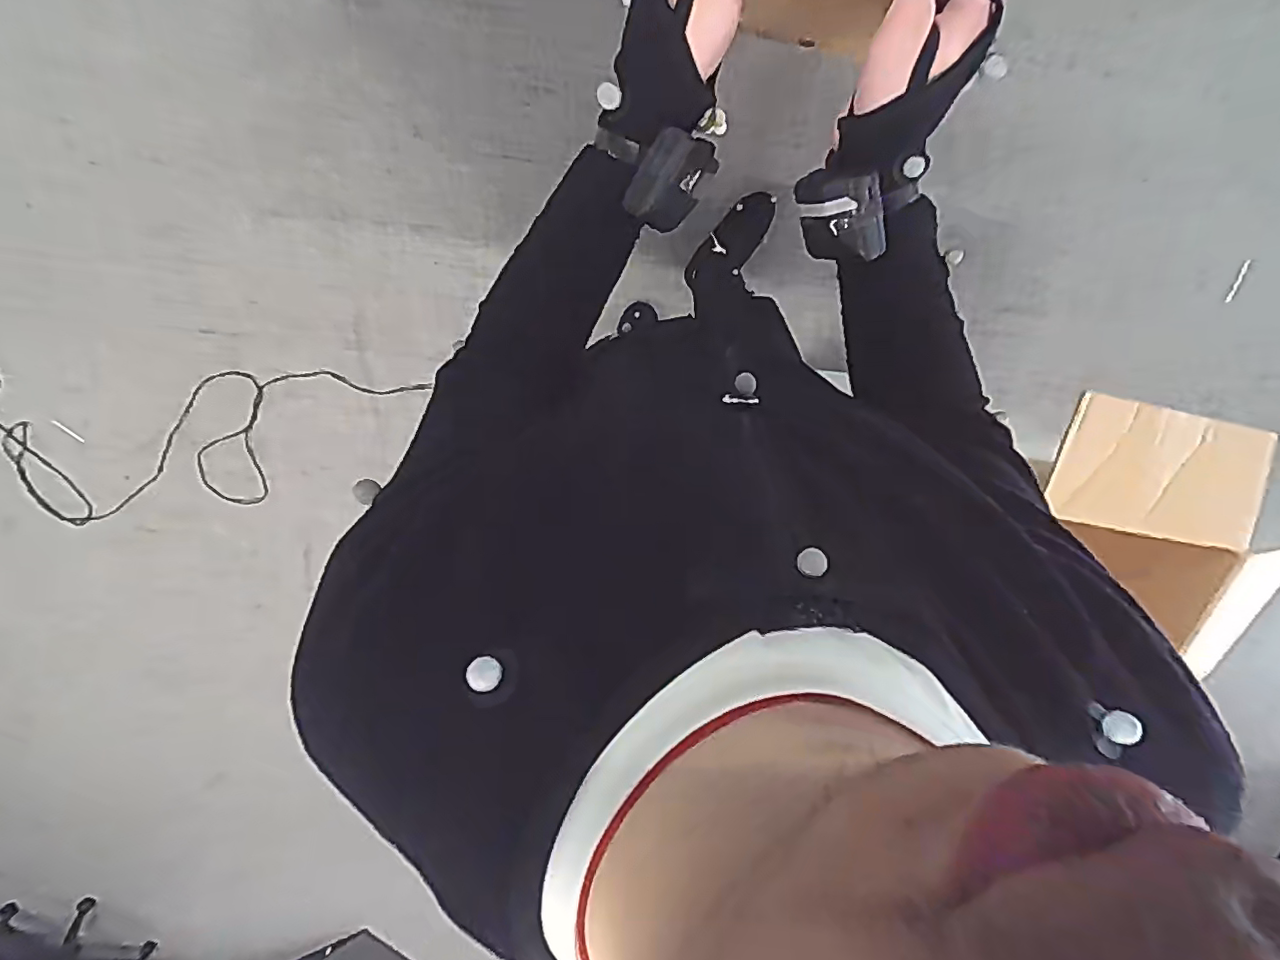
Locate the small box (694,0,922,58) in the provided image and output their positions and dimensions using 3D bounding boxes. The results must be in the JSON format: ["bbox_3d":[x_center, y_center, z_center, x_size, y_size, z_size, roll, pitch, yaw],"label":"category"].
[{"bbox_3d":[0.133,-0.424,0.364,0.168,0.176,0.179,9,113,-5],"label":"small box"}]
